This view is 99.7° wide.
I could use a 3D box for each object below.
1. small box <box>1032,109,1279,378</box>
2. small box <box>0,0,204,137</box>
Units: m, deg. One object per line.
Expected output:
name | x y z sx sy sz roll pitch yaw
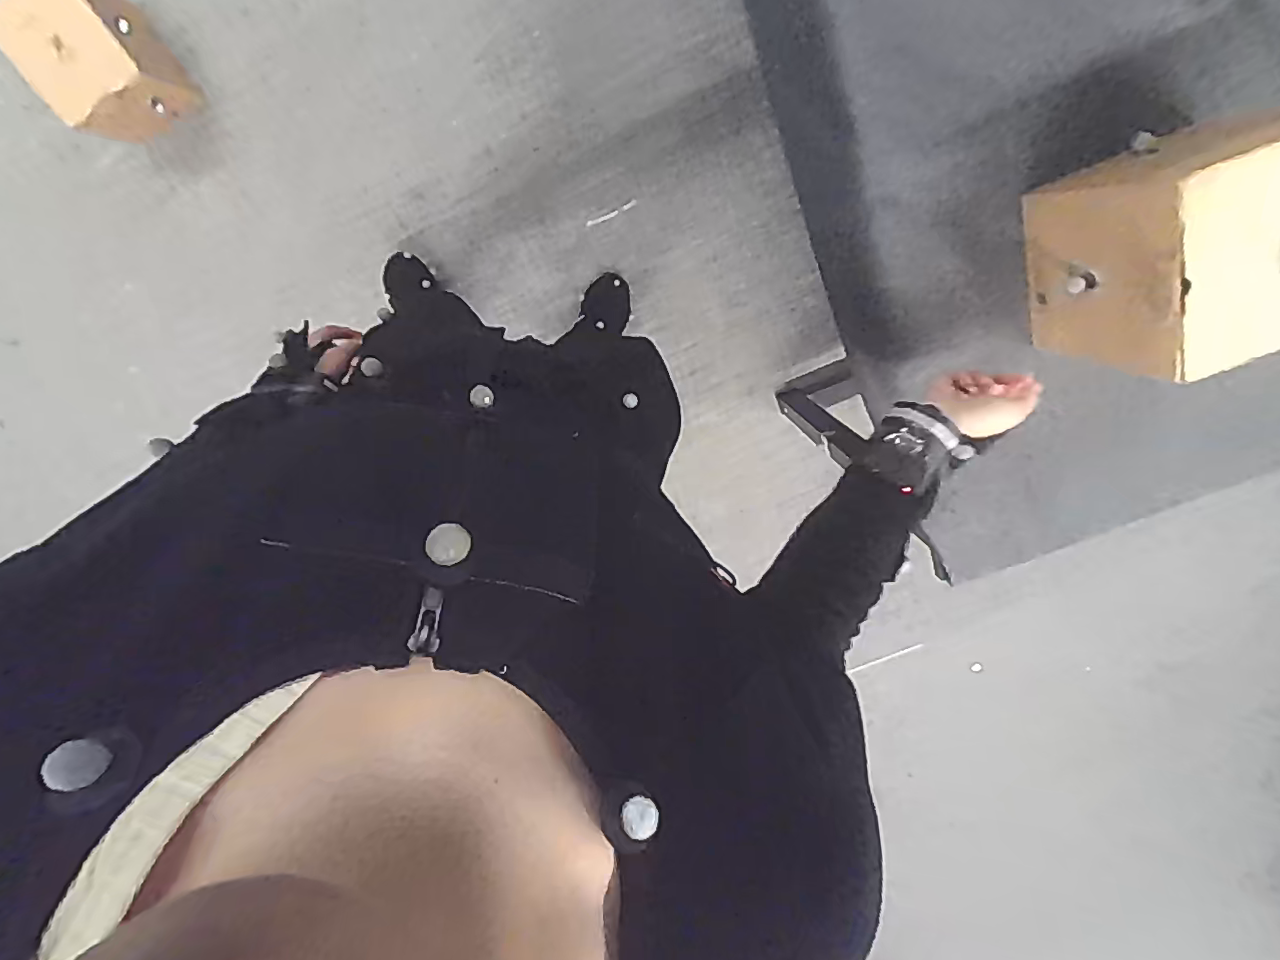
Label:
small box | 0.492 -0.212 0.489 0.179 0.176 0.168 -21 113 5
small box | -0.937 -0.737 0.951 0.168 0.176 0.179 -29 111 7
